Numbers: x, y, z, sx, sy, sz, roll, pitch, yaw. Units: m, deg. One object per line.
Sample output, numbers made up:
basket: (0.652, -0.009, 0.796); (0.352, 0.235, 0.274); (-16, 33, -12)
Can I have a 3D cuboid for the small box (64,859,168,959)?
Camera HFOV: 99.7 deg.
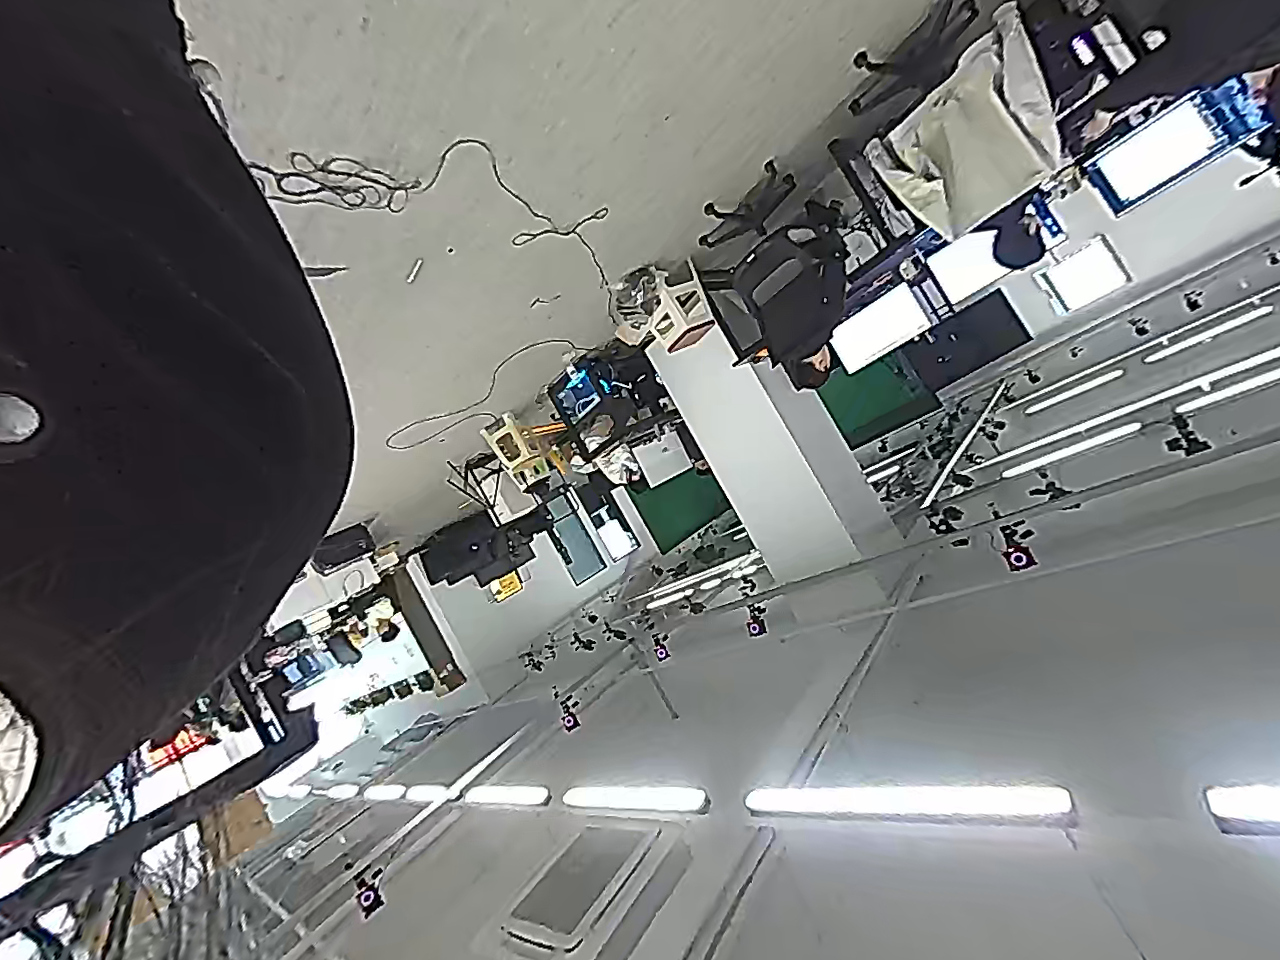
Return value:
small box: (-1.505, 1.225, 1.551); (0.179, 0.176, 0.168); (-30, 179, 39)
